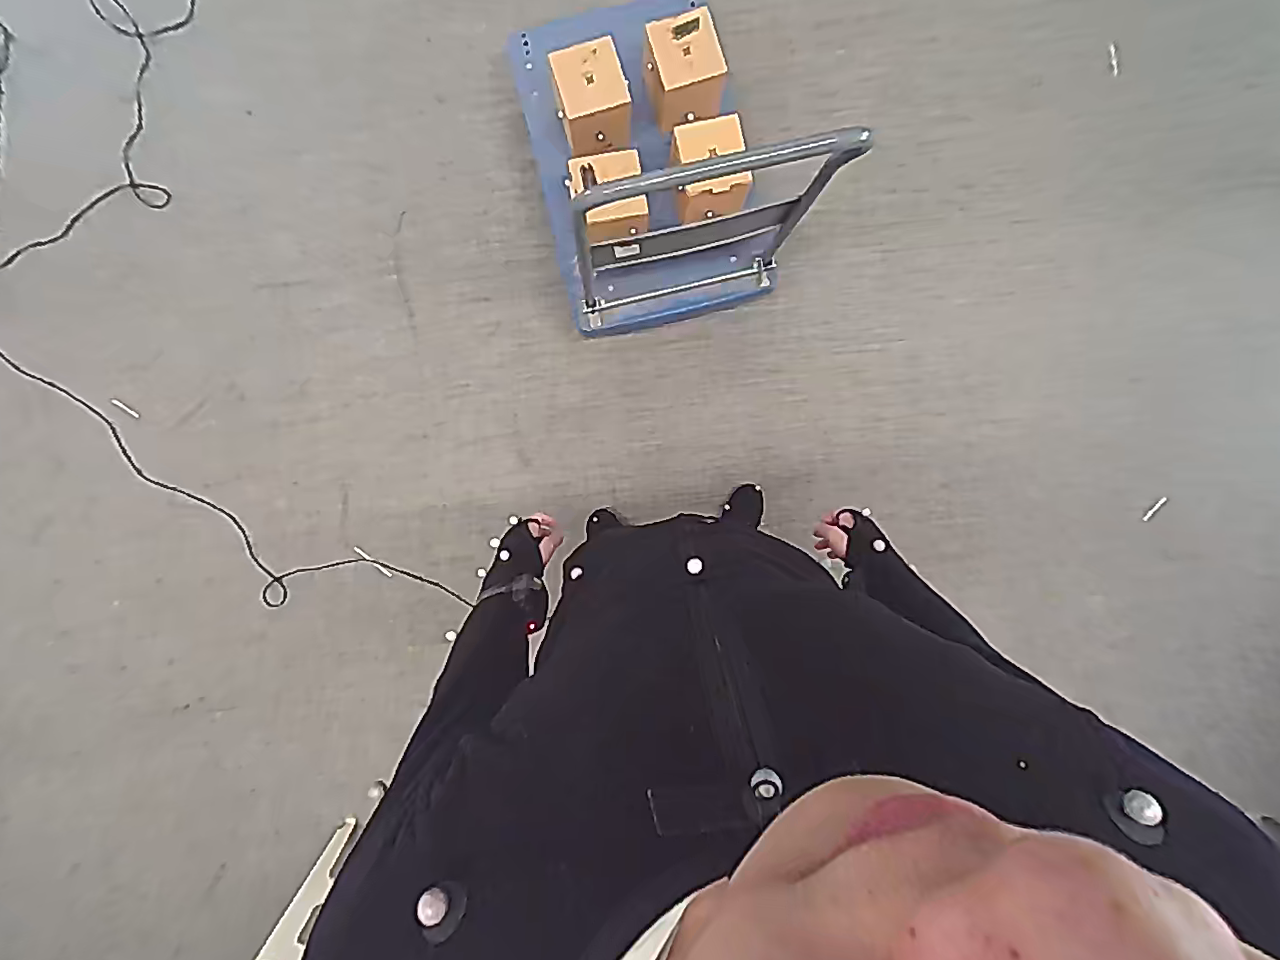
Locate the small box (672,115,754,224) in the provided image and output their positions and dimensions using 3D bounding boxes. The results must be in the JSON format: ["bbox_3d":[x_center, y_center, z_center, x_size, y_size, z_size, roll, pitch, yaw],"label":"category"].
[{"bbox_3d":[0.186,-0.811,1.426,0.168,0.176,0.179,-13,89,-1],"label":"small box"}]

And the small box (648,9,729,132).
[{"bbox_3d":[0.120,-1.073,1.429,0.168,0.176,0.179,-17,90,0],"label":"small box"}]

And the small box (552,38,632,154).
[{"bbox_3d":[-0.120,-0.996,1.425,0.168,0.176,0.179,-17,89,-2],"label":"small box"}]
